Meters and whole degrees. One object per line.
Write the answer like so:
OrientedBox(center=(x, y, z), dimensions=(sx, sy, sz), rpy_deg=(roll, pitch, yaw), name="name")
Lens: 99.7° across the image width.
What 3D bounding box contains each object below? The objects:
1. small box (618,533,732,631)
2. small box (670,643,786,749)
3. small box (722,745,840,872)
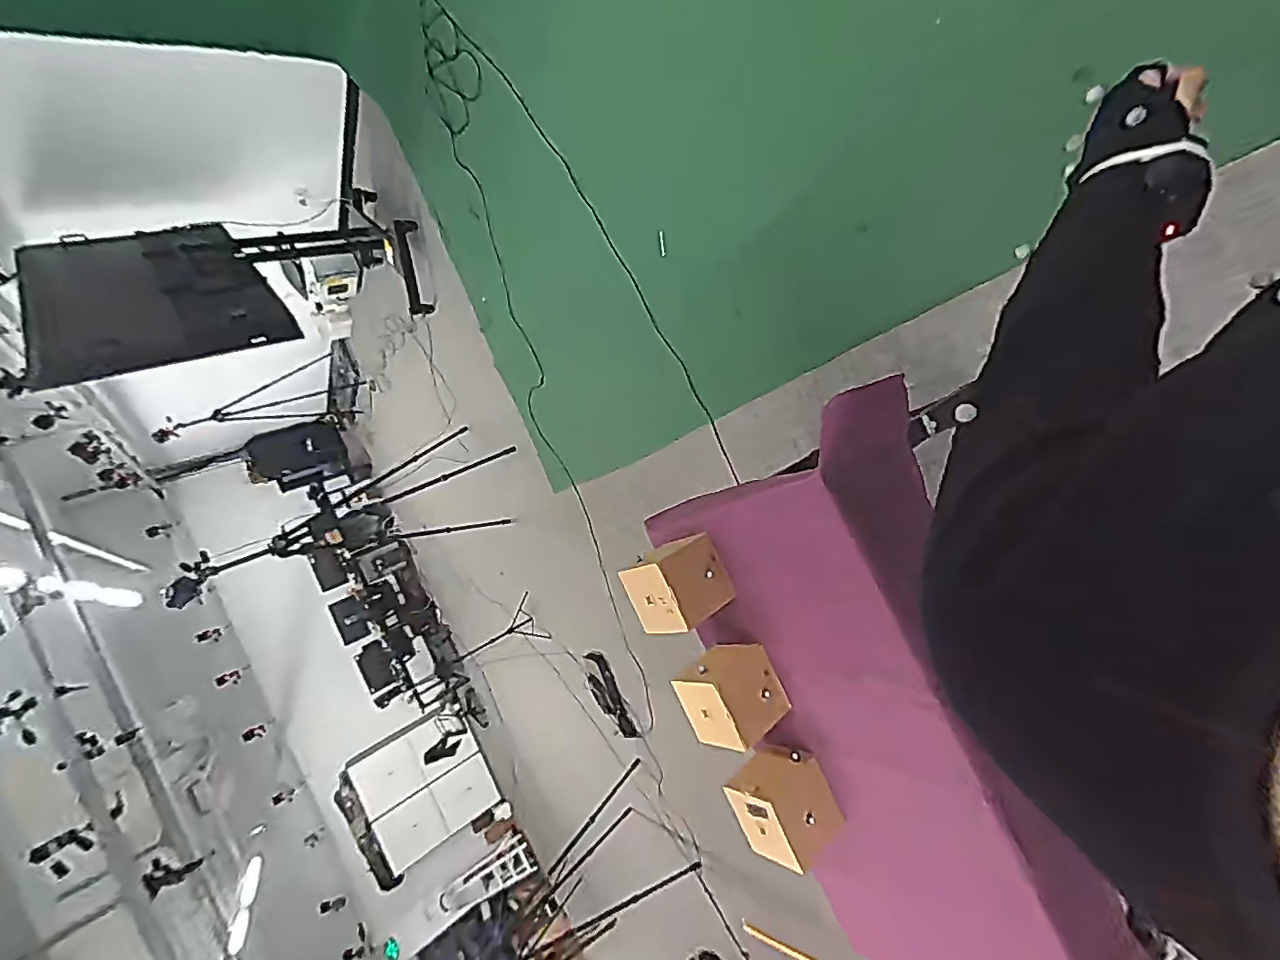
OrientedBox(center=(0.084, 0.242, 1.280), dimensions=(0.179, 0.176, 0.168), rpy_deg=(-25, 91, 53), name="small box")
OrientedBox(center=(0.209, 0.502, 1.282), dimensions=(0.179, 0.176, 0.168), rpy_deg=(-28, 87, 55), name="small box")
OrientedBox(center=(0.331, 0.756, 1.270), dimensions=(0.168, 0.176, 0.179), rpy_deg=(-26, 90, 56), name="small box")
